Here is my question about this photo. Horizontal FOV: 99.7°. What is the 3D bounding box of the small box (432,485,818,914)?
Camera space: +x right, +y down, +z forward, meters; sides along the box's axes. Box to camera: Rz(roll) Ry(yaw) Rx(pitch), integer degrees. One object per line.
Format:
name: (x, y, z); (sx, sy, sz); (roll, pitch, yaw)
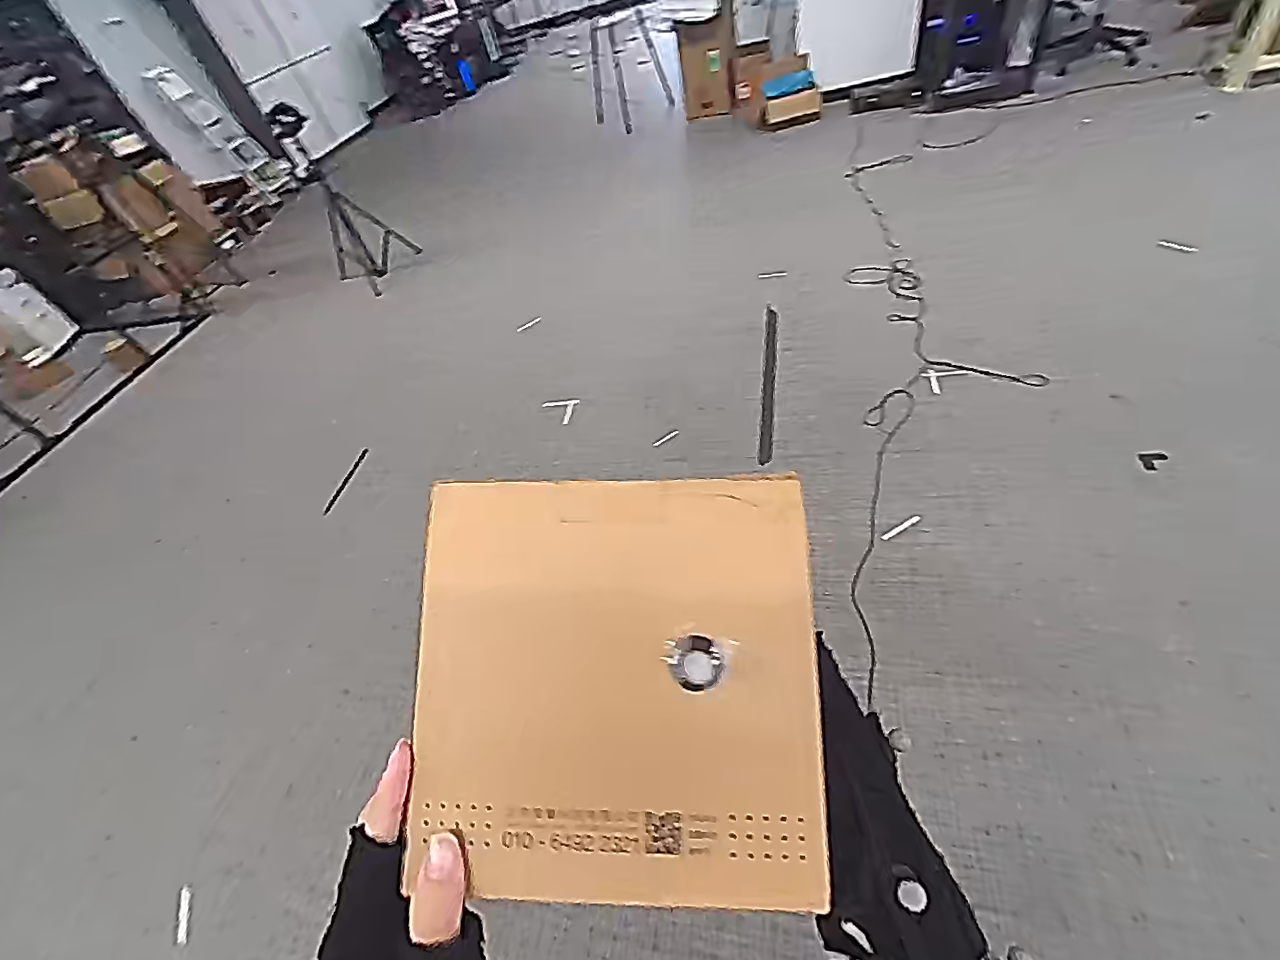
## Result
small box: (0.001, 0.101, 0.305); (0.168, 0.179, 0.176); (-1, 80, 9)
